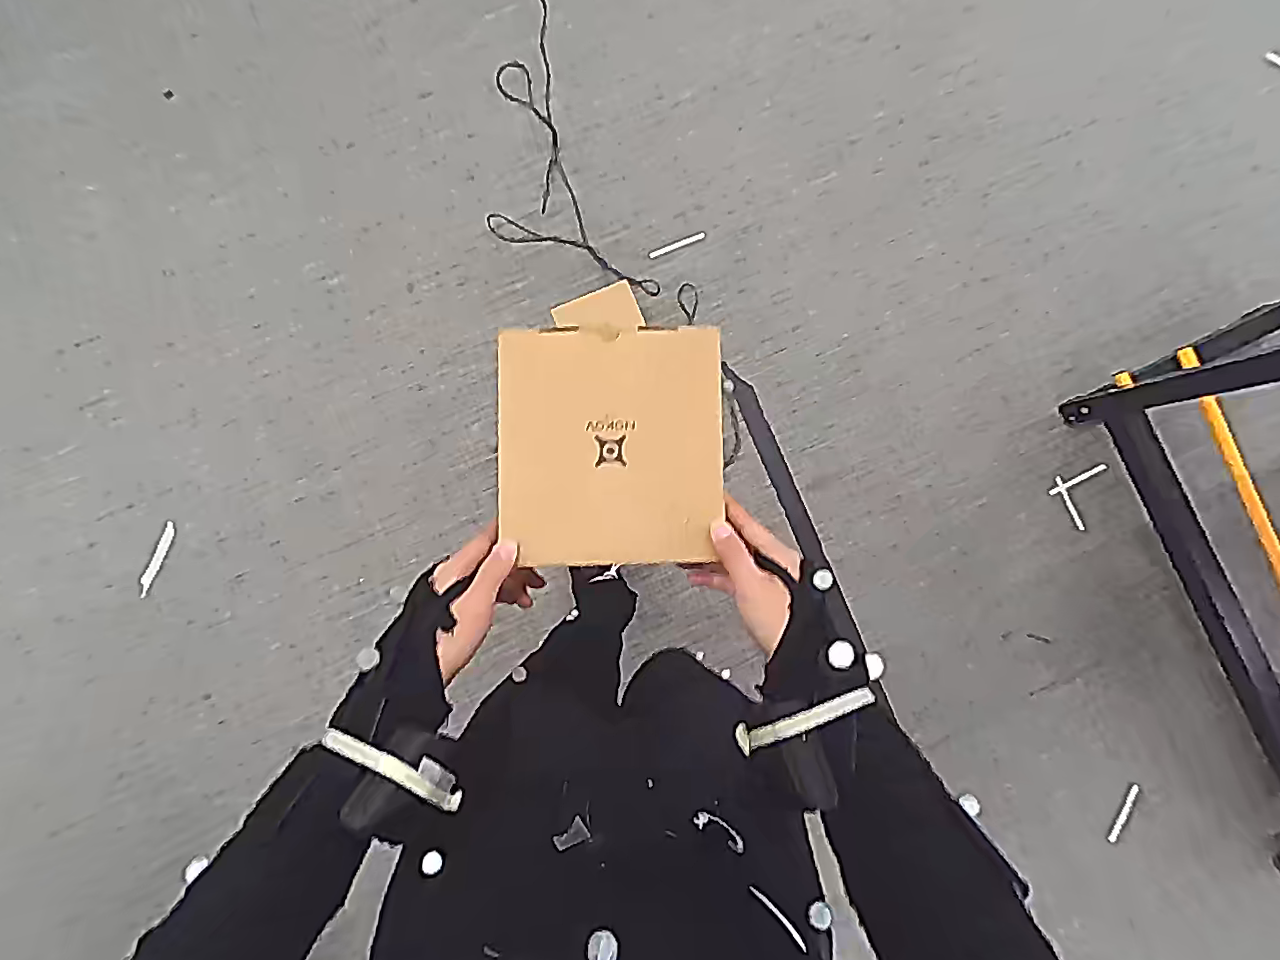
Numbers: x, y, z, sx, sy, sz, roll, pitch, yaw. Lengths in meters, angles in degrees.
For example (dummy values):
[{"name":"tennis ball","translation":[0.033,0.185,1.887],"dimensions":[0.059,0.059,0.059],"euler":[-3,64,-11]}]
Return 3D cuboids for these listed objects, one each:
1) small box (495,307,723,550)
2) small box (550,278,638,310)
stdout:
[{"name":"small box","translation":[-0.024,-0.033,0.469],"dimensions":[0.168,0.176,0.179],"euler":[-1,85,-2]},{"name":"small box","translation":[-0.072,-0.283,1.130],"dimensions":[0.168,0.176,0.179],"euler":[-22,88,-2]}]
